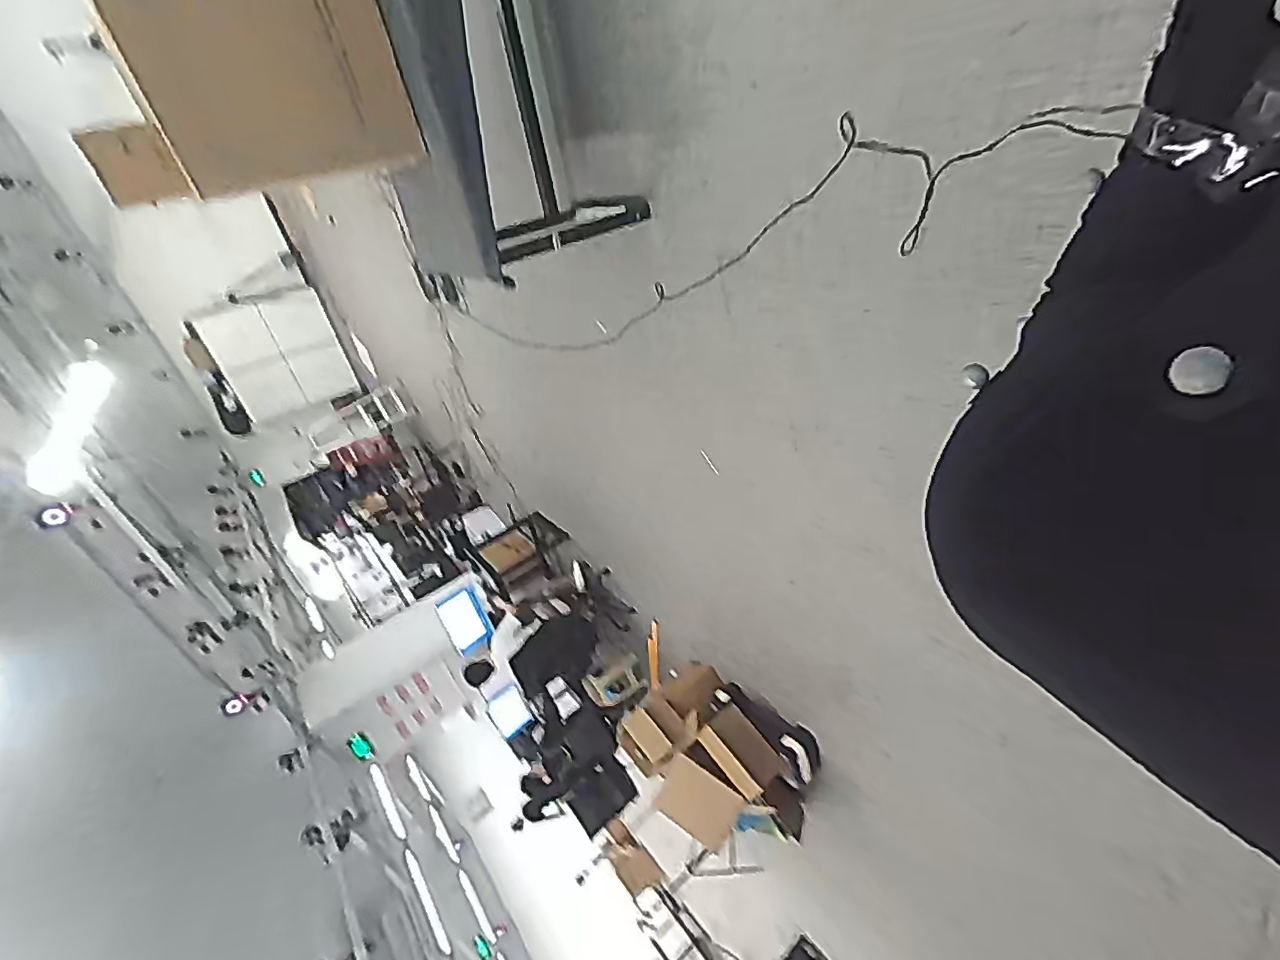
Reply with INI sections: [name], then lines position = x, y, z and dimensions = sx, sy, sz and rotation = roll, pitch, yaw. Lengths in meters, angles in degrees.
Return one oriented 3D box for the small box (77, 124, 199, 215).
[small box]
position = -1.259, -0.786, 1.372
dimensions = 0.179, 0.176, 0.168
rotation = 24, 136, 48
